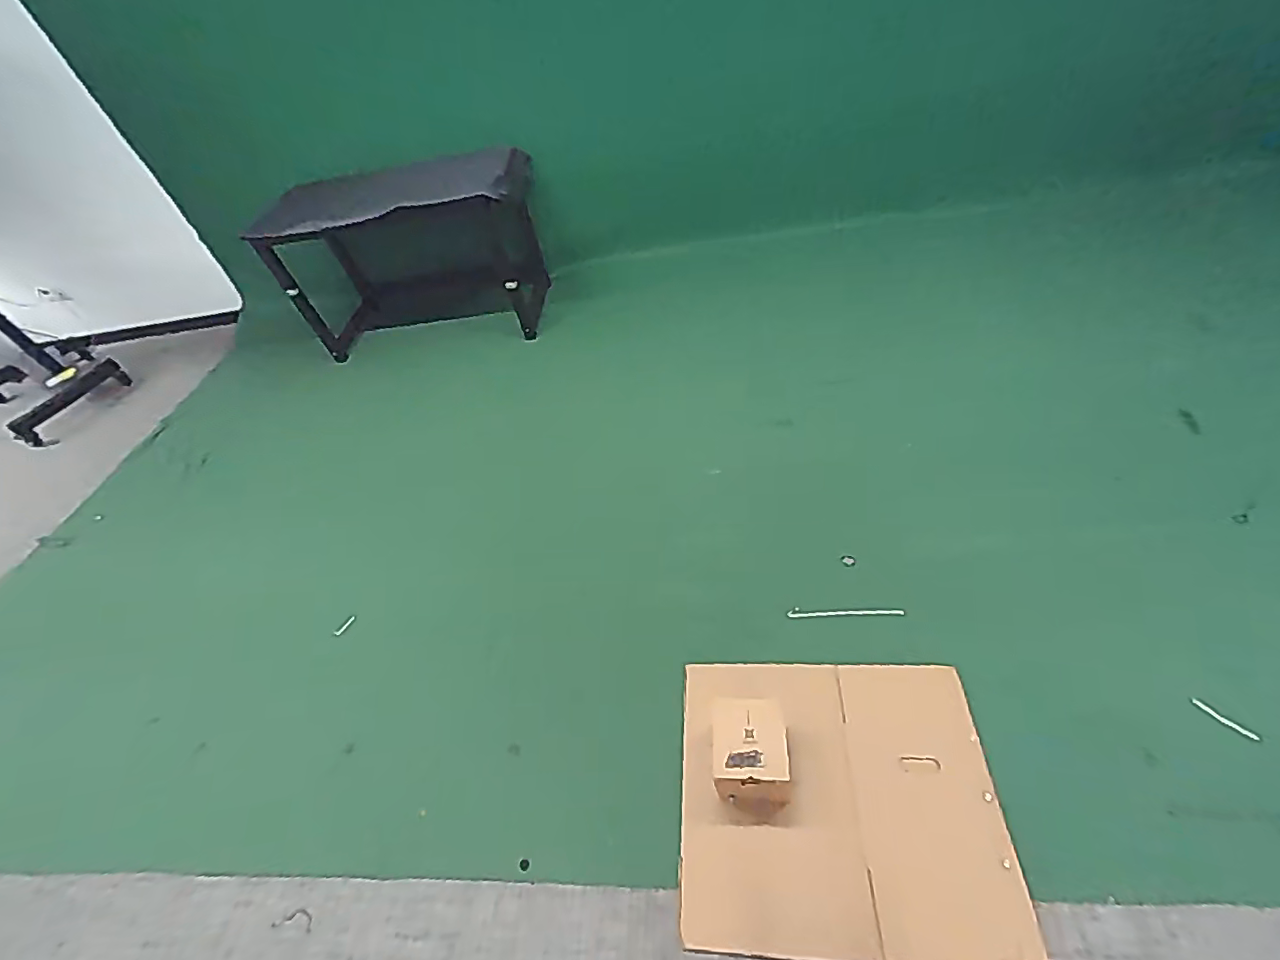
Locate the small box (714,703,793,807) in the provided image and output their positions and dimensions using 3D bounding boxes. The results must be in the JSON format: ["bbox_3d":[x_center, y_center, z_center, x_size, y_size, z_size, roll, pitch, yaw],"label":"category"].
[{"bbox_3d":[0.266,0.642,1.258,0.168,0.176,0.179,-3,45,12],"label":"small box"}]
